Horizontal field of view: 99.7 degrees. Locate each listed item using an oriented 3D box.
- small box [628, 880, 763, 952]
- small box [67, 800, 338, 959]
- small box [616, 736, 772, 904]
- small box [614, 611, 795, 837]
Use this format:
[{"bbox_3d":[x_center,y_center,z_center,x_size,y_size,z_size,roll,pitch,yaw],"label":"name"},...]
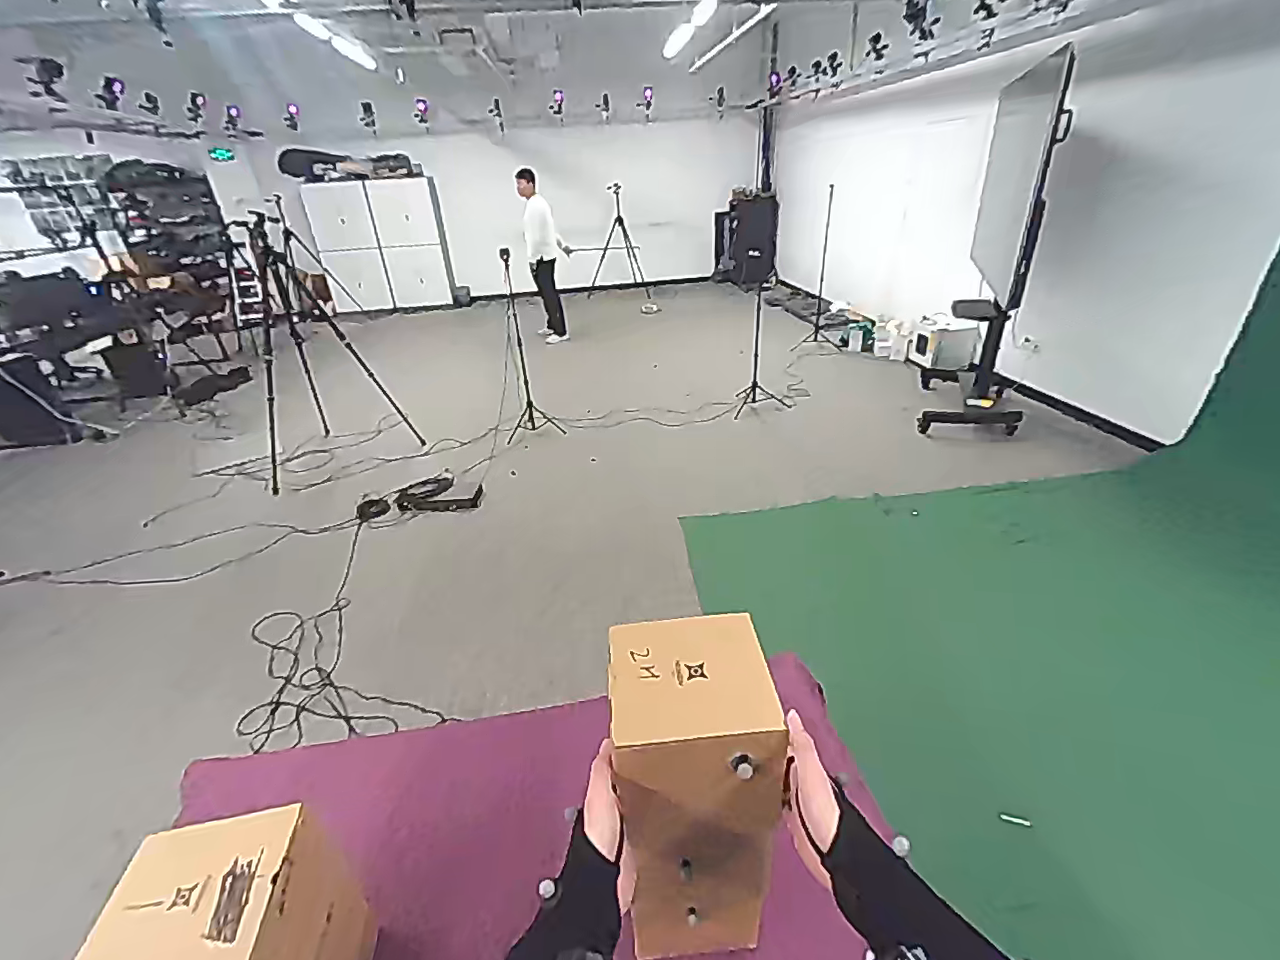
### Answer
[{"bbox_3d":[0.071,0.557,0.799,0.179,0.176,0.168,-5,30,-2],"label":"small box"},{"bbox_3d":[-0.468,0.499,0.603,0.179,0.176,0.168,-7,30,-8],"label":"small box"},{"bbox_3d":[0.065,0.421,0.708,0.179,0.176,0.168,-5,30,-1],"label":"small box"},{"bbox_3d":[0.064,0.277,0.625,0.179,0.176,0.168,-6,29,-2],"label":"small box"}]
